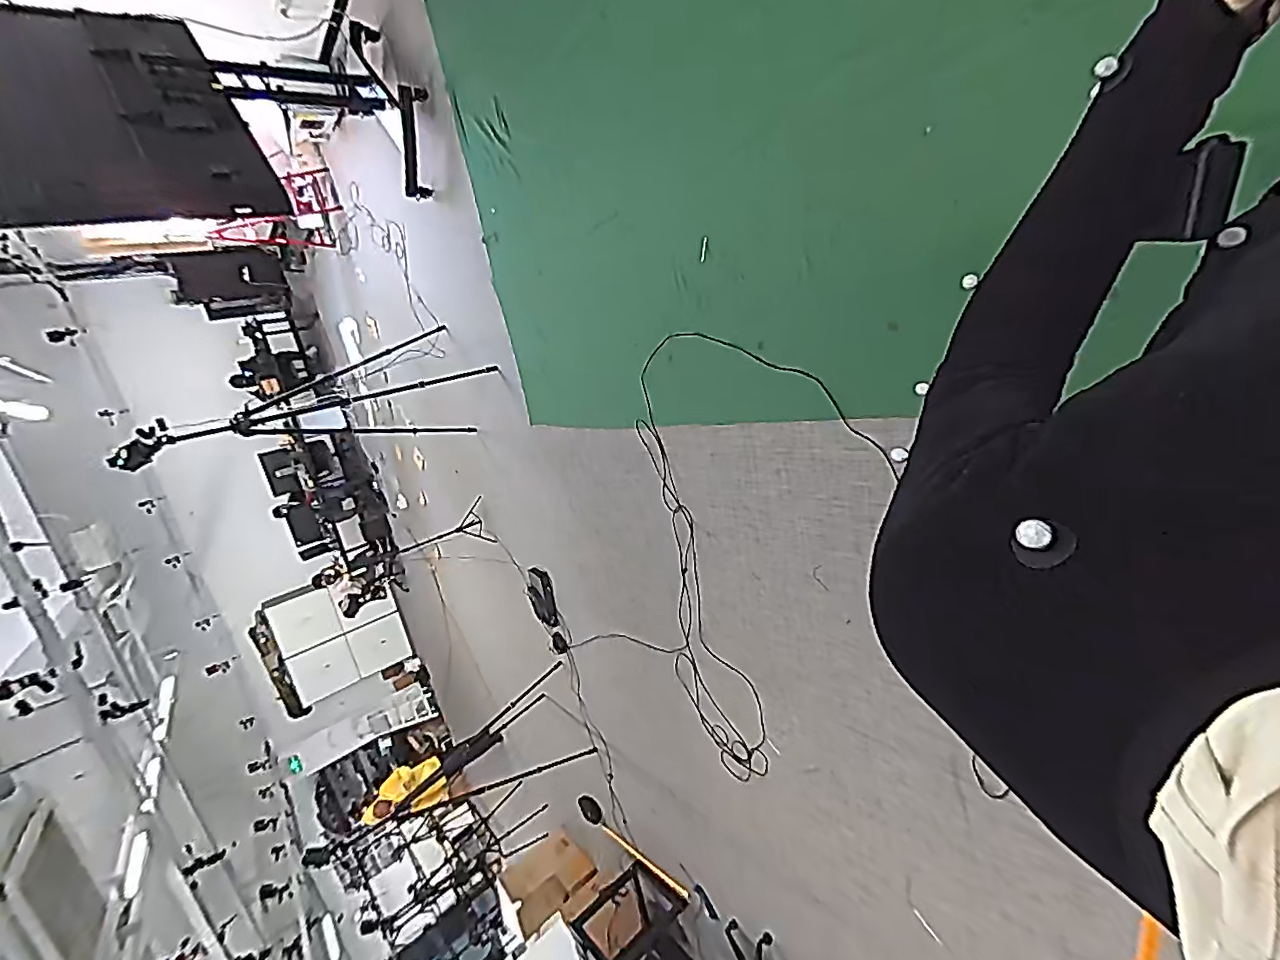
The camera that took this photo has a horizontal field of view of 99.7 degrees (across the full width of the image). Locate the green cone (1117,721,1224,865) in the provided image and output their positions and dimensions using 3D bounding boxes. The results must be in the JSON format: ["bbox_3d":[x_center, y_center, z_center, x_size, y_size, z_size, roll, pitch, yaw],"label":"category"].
[{"bbox_3d":[1.261,0.801,1.327,0.202,0.368,0.200,6,112,51],"label":"green cone"}]
